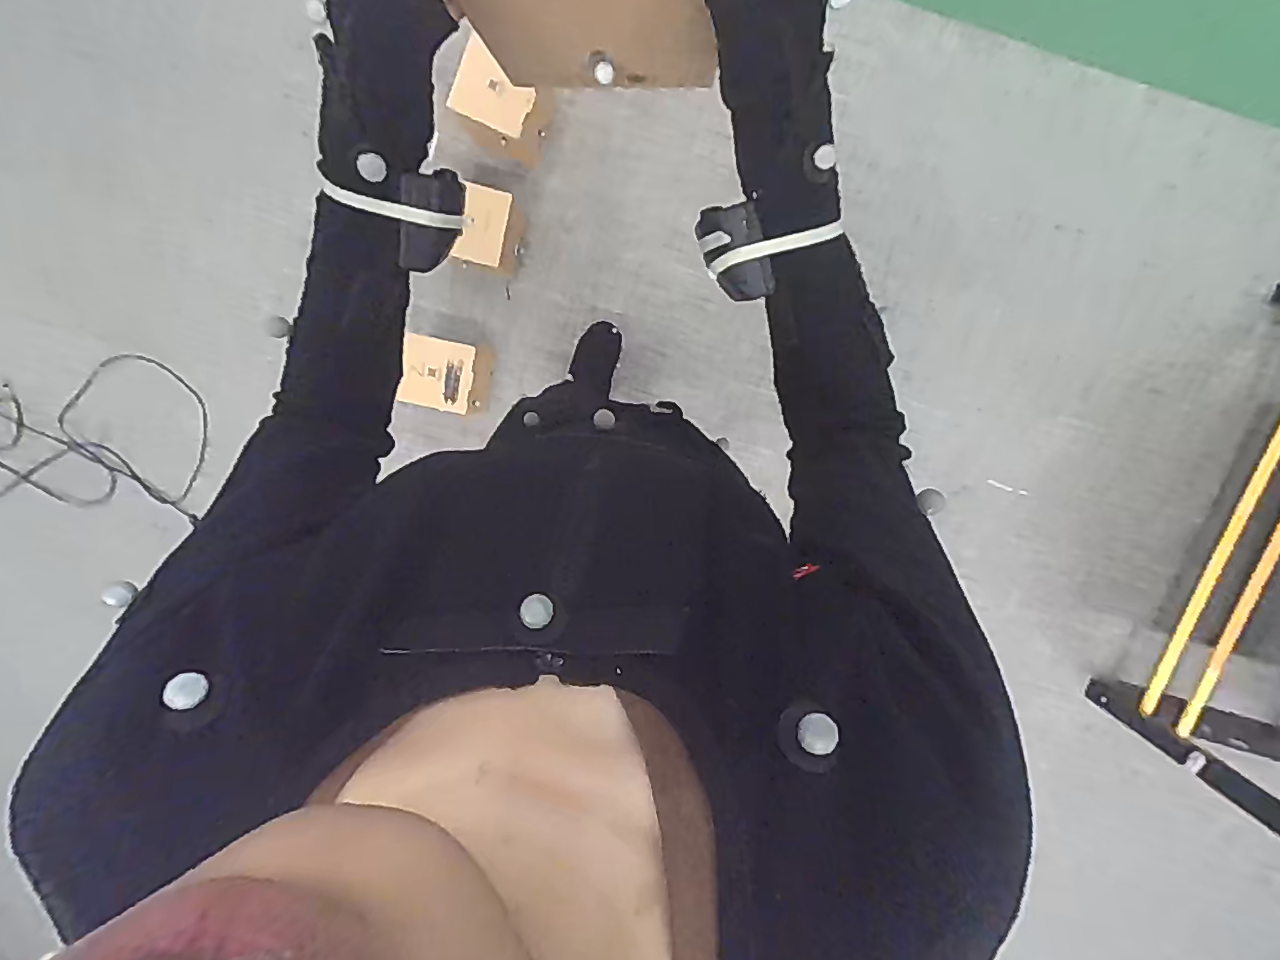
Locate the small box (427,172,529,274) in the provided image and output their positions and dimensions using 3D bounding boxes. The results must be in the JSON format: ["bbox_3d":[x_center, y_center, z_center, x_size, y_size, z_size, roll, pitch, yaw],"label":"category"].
[{"bbox_3d":[-0.384,-0.609,1.305,0.179,0.176,0.168,14,102,-2],"label":"small box"}]

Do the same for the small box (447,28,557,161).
[{"bbox_3d":[-0.312,-0.881,1.257,0.179,0.176,0.168,23,100,-2],"label":"small box"}]
